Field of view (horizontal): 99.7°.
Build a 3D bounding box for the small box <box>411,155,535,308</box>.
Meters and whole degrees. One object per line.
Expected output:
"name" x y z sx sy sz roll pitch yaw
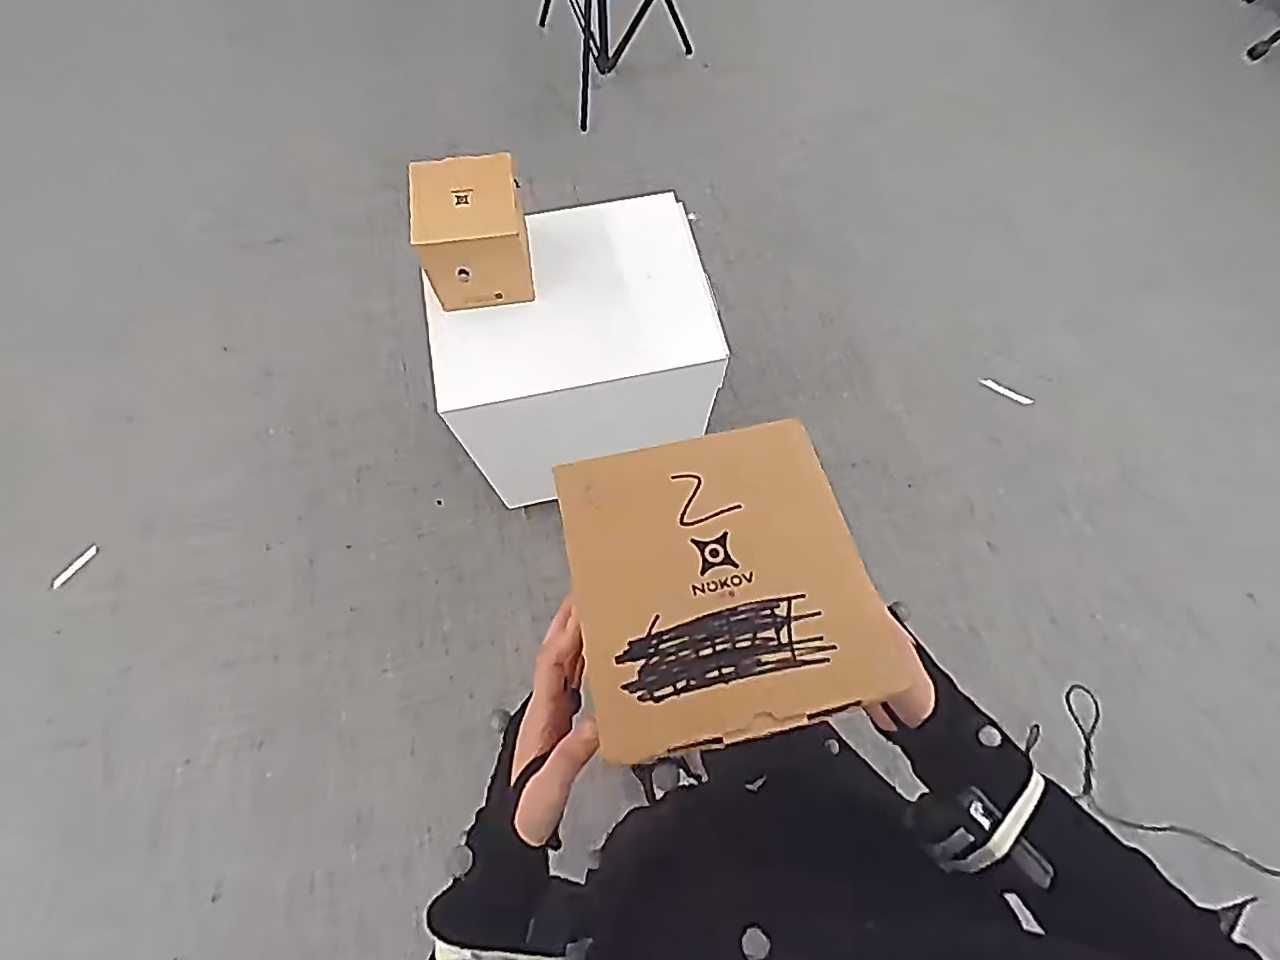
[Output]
"small box" -0.281 -0.416 0.931 0.168 0.176 0.179 -9 70 -4
